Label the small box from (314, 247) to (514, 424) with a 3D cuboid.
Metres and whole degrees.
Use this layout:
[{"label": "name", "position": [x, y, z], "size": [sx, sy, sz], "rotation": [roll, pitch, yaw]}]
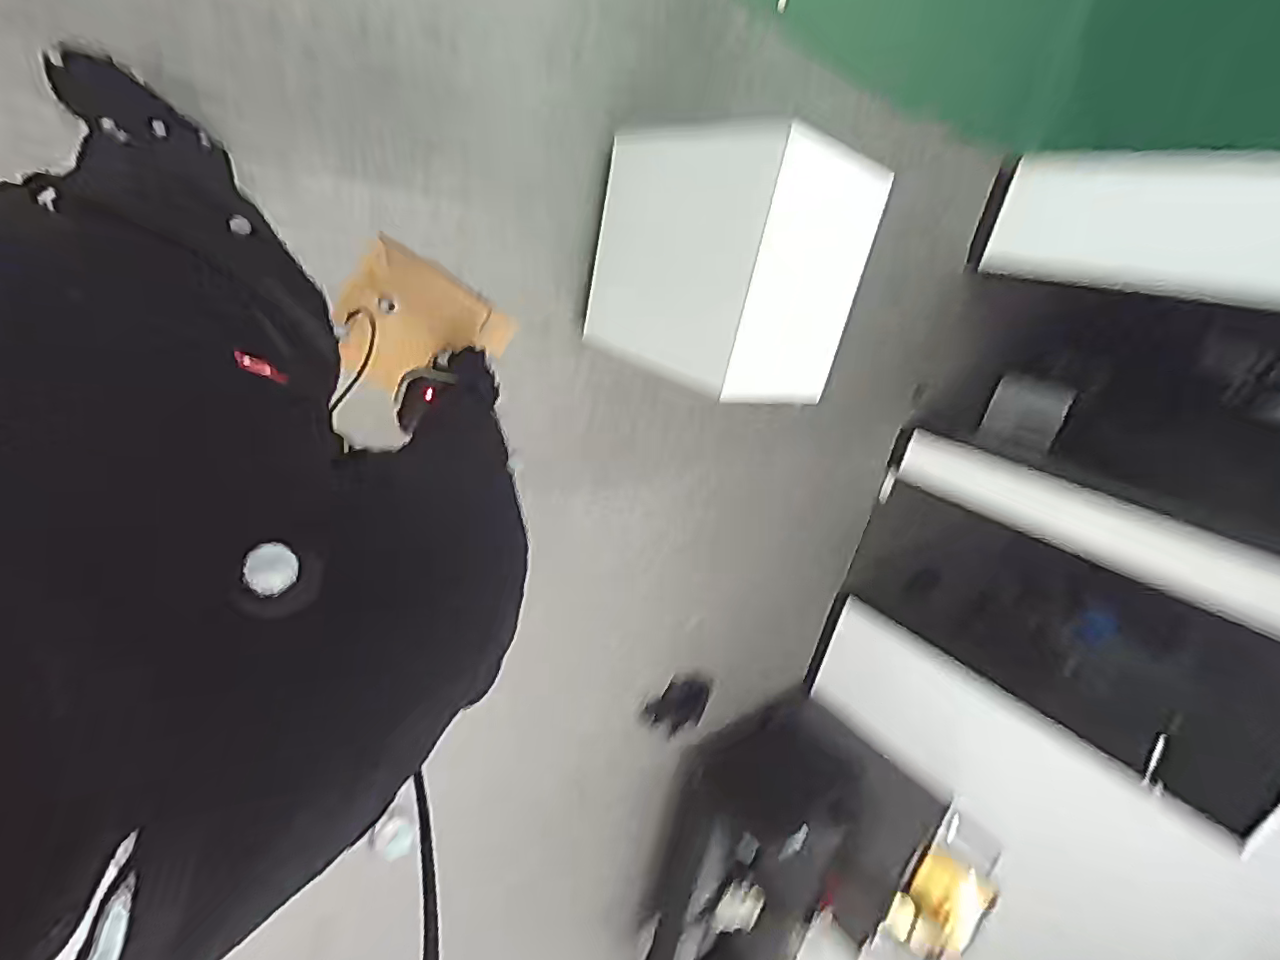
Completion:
[{"label": "small box", "position": [-0.310, -0.201, 0.767], "size": [0.176, 0.179, 0.168], "rotation": [34, 100, -5]}]
